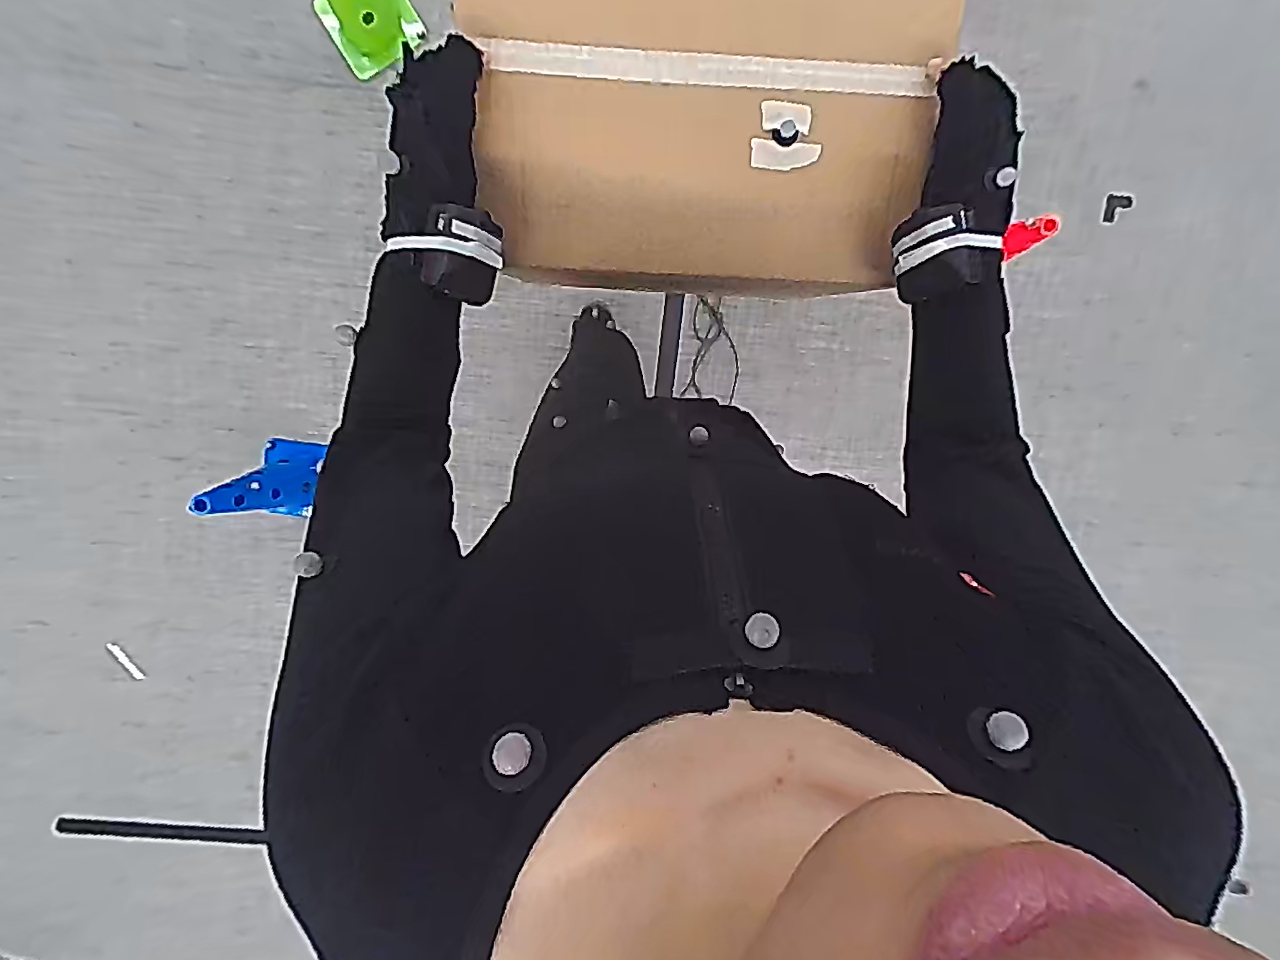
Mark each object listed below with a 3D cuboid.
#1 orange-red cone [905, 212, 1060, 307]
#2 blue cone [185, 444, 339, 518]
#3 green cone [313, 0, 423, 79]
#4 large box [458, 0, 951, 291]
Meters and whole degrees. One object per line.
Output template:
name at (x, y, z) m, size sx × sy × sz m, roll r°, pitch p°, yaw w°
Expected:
orange-red cone at (0.801, -0.535, 1.238) m, size 0.198 × 0.360 × 0.199 m, roll 3°, pitch 97°, yaw -3°
blue cone at (-0.898, 0.027, 1.278) m, size 0.192 × 0.380 × 0.193 m, roll 8°, pitch 98°, yaw -2°
green cone at (-0.638, -1.061, 1.106) m, size 0.202 × 0.368 × 0.200 m, roll -32°, pitch 98°, yaw 4°
large box at (0.045, -0.383, 0.589) m, size 0.408 × 0.320 × 0.320 m, roll 2°, pitch 106°, yaw -3°
